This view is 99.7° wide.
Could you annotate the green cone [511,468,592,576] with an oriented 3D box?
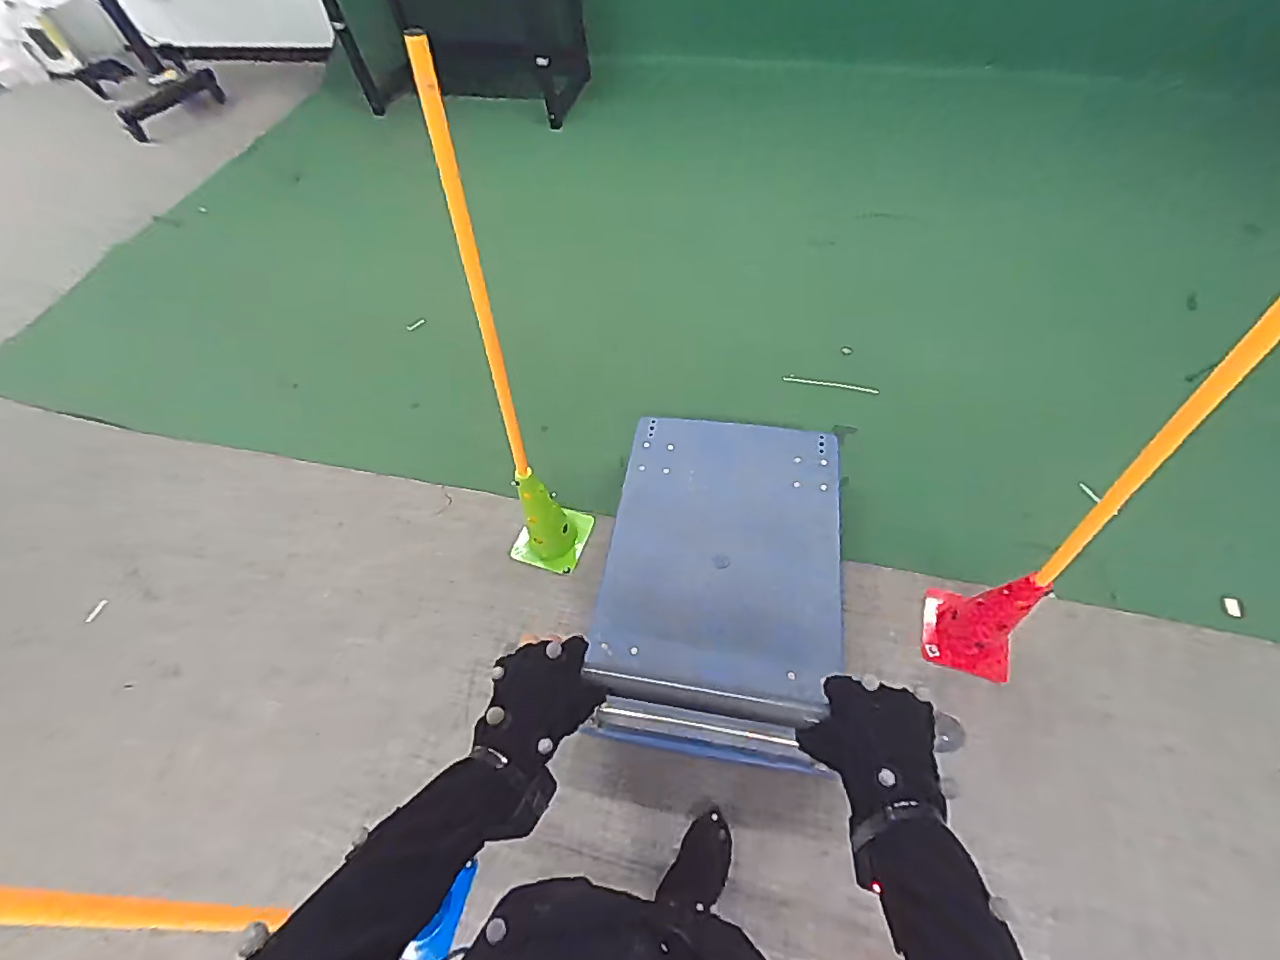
[{"bbox_3d":[-0.277,0.082,1.476,0.202,0.368,0.200,14,59,14],"label":"green cone"}]
